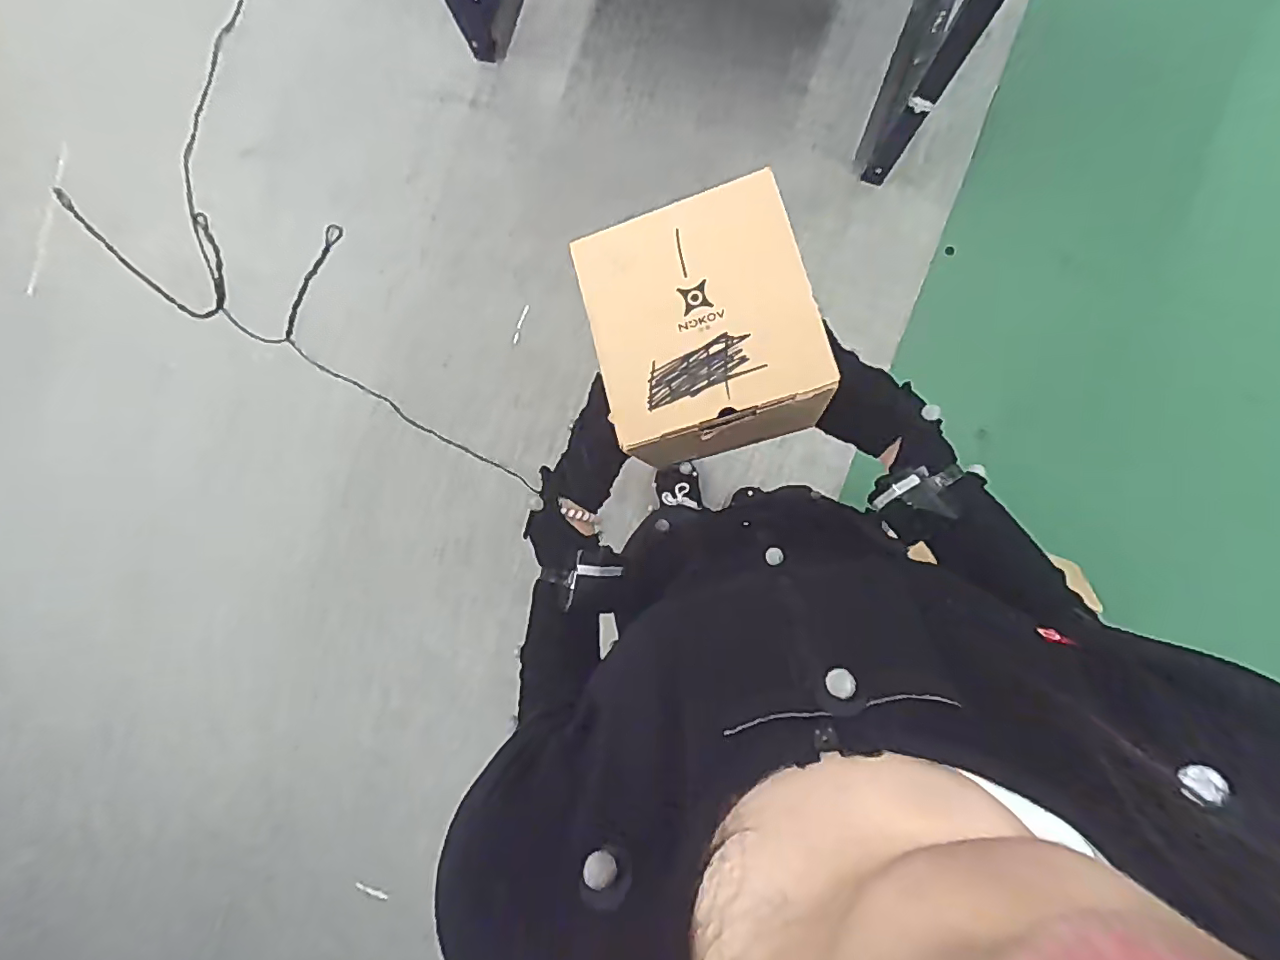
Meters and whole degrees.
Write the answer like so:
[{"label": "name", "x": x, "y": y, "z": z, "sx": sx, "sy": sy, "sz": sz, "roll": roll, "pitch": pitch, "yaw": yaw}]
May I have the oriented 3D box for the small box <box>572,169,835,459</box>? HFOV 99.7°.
[{"label": "small box", "x": 0.059, "y": -0.123, "z": 0.482, "sx": 0.168, "sy": 0.176, "sz": 0.179, "roll": -16, "pitch": 82, "yaw": 9}]
